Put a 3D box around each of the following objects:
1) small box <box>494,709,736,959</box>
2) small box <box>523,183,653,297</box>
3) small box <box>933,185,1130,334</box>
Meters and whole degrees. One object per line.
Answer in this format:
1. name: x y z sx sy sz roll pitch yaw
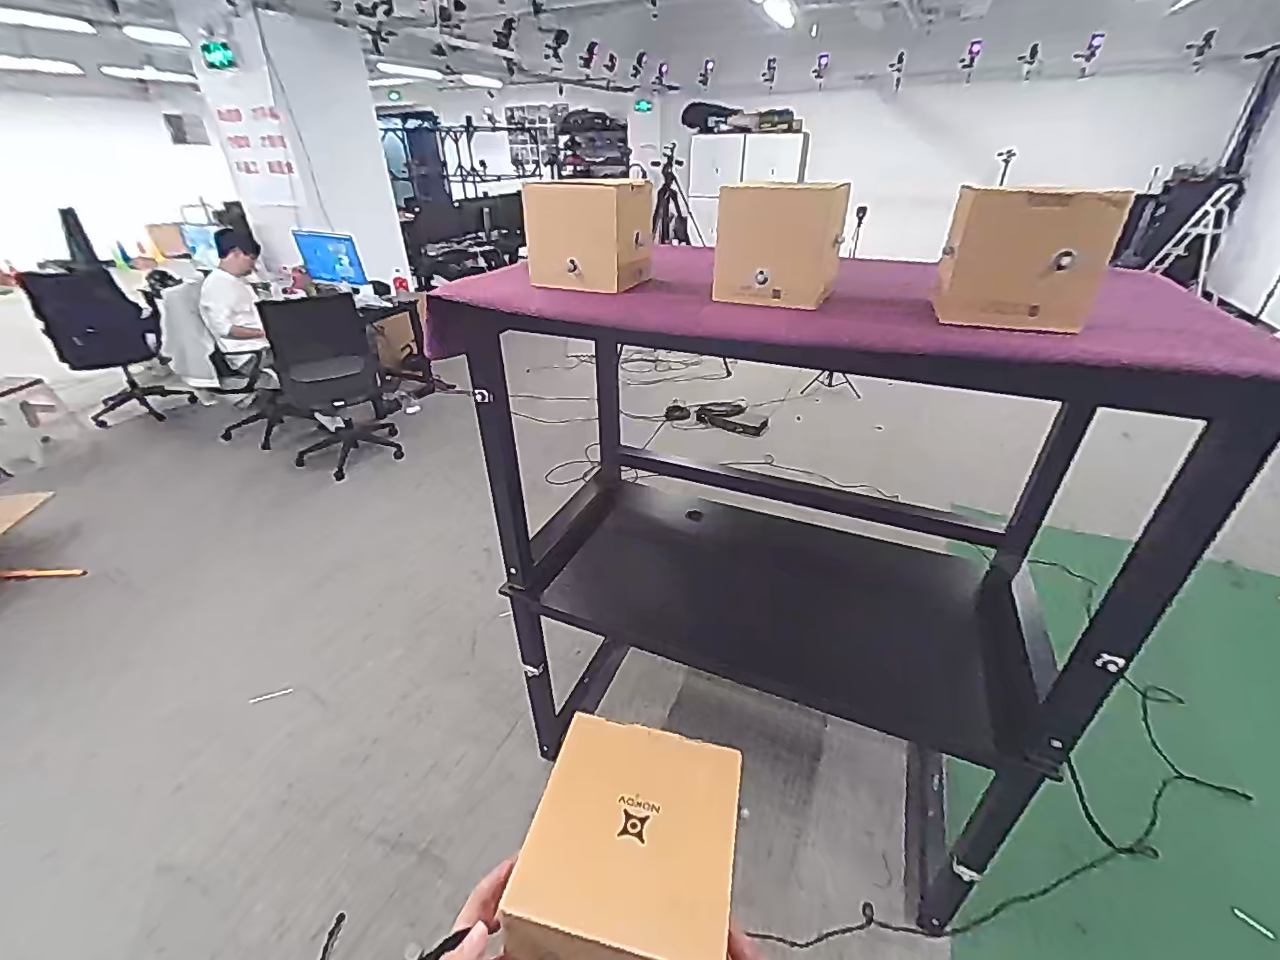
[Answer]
1. small box: -0.010 0.348 0.487 0.168 0.176 0.179 8 29 10
2. small box: -0.086 -0.432 0.972 0.179 0.176 0.168 12 32 18
3. small box: 0.518 -0.308 0.748 0.168 0.176 0.179 11 31 19
